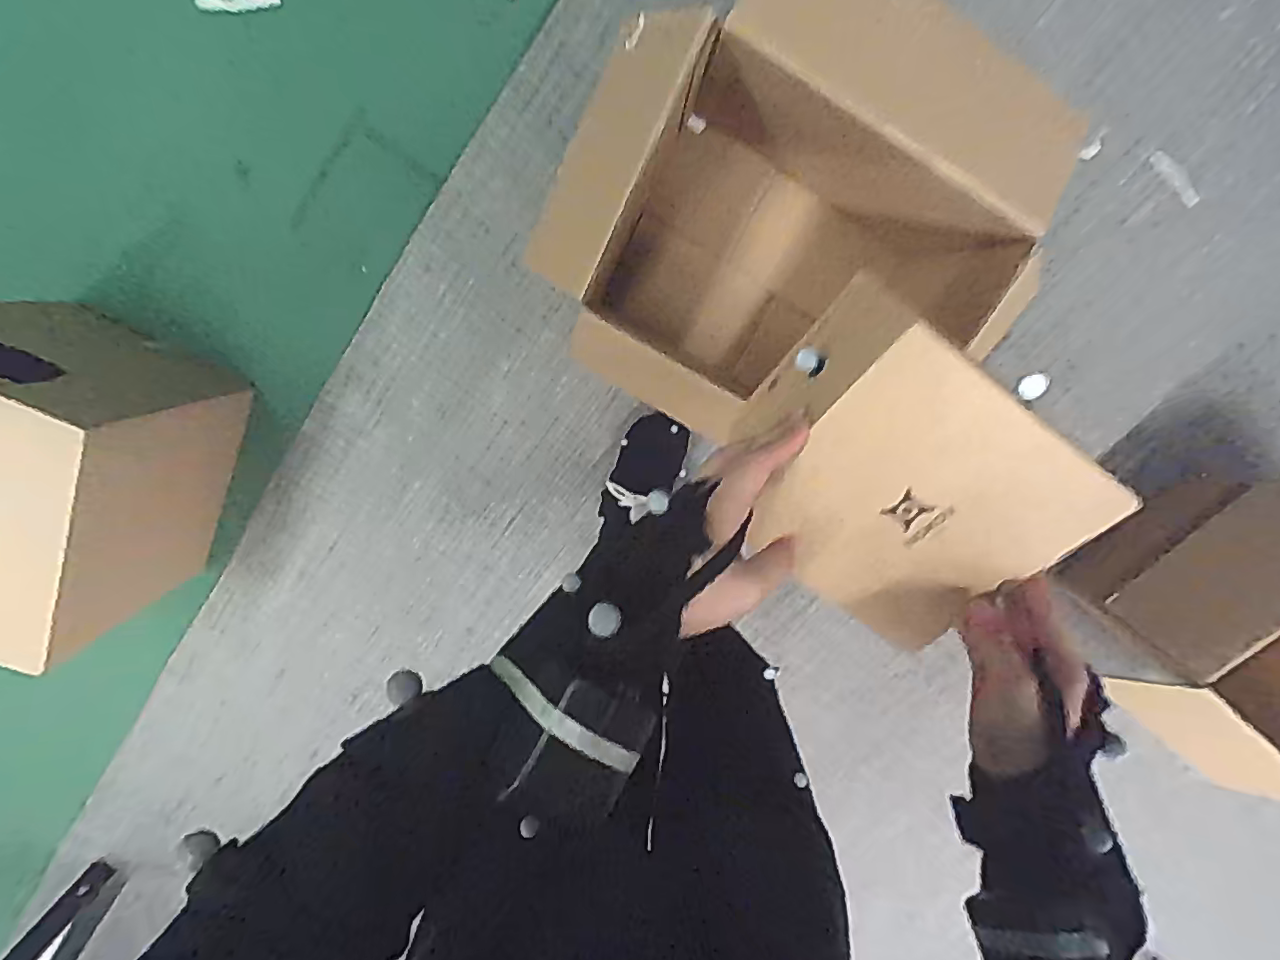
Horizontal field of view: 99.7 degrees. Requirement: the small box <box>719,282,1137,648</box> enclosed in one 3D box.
[{"bbox_3d":[0.176,-0.023,0.394,0.179,0.176,0.168,35,119,-10],"label":"small box"}]
